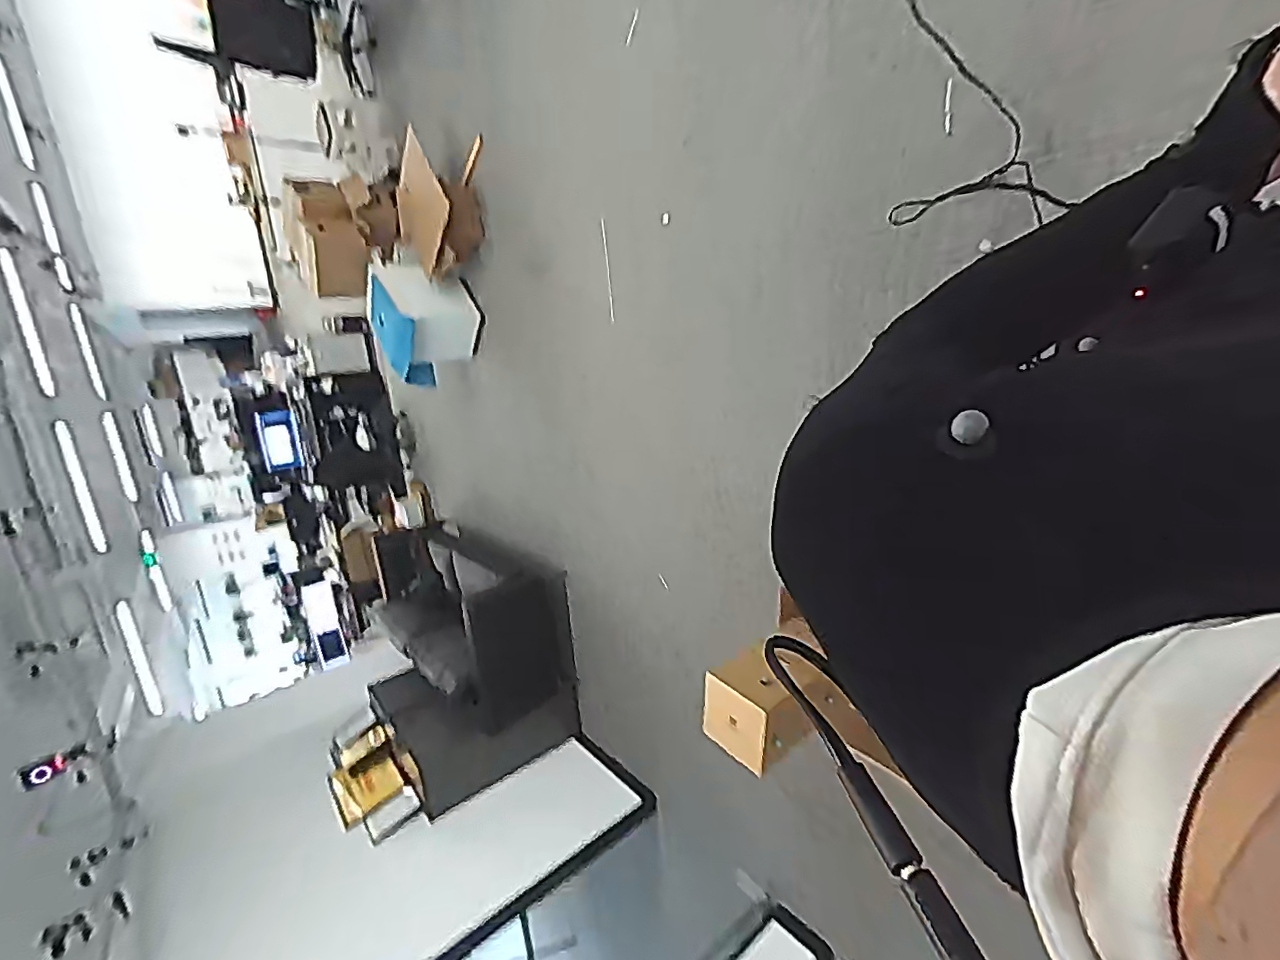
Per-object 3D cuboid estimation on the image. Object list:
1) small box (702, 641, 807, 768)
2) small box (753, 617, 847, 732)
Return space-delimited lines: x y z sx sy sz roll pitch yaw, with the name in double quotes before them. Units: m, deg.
"small box" 0.261 0.497 1.229 0.168 0.176 0.179 21 119 46
"small box" 0.387 0.464 1.325 0.168 0.176 0.179 21 119 46
